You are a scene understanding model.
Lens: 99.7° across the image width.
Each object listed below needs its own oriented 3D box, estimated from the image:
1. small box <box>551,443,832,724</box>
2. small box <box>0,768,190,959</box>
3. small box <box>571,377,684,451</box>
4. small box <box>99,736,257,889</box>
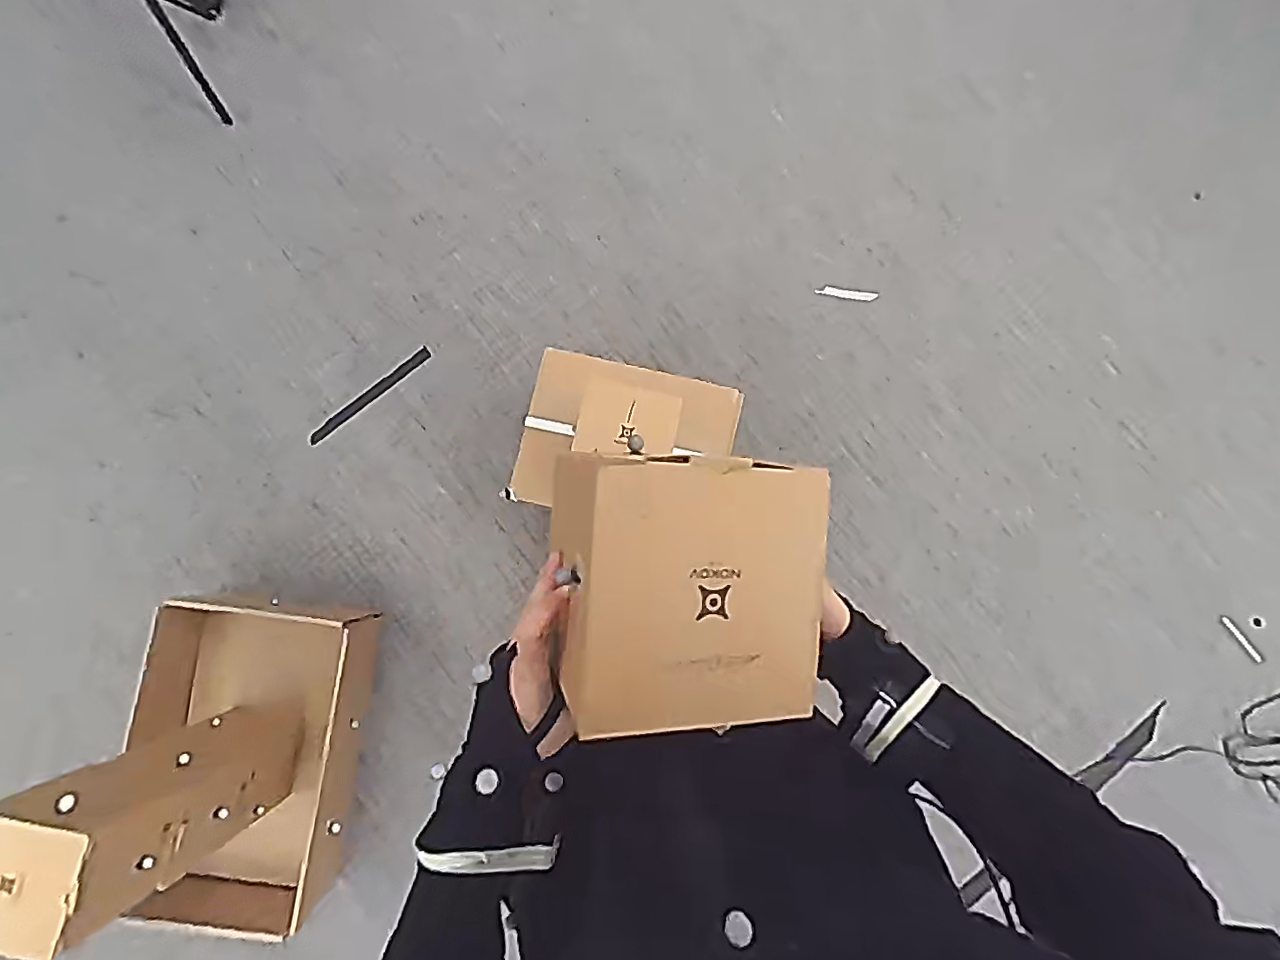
[{"bbox_3d":[0.026,0.065,0.429,0.168,0.176,0.179,4,93,-18],"label":"small box"},{"bbox_3d":[-0.842,0.556,0.808,0.179,0.176,0.168,11,83,0],"label":"small box"},{"bbox_3d":[-0.027,-0.061,0.967,0.168,0.176,0.179,13,83,-1],"label":"small box"},{"bbox_3d":[-0.840,0.582,0.970,0.179,0.176,0.168,12,83,-1],"label":"small box"}]
